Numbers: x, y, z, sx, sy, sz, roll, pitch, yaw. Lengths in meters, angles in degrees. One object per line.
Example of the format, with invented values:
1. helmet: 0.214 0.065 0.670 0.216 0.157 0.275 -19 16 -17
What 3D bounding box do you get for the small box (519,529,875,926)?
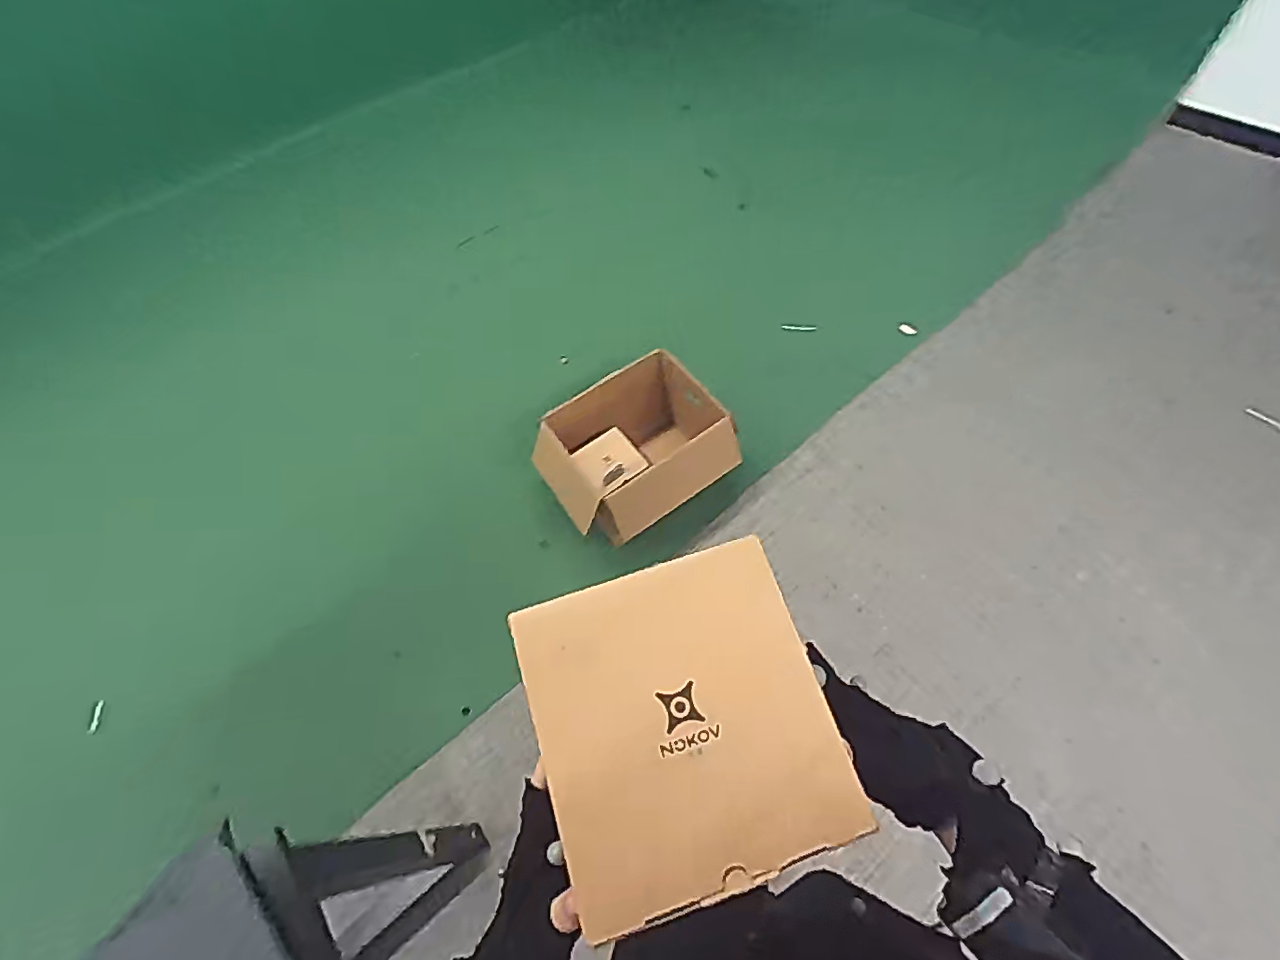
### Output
1. small box: 0.024 0.157 0.386 0.168 0.176 0.179 -16 71 -7
